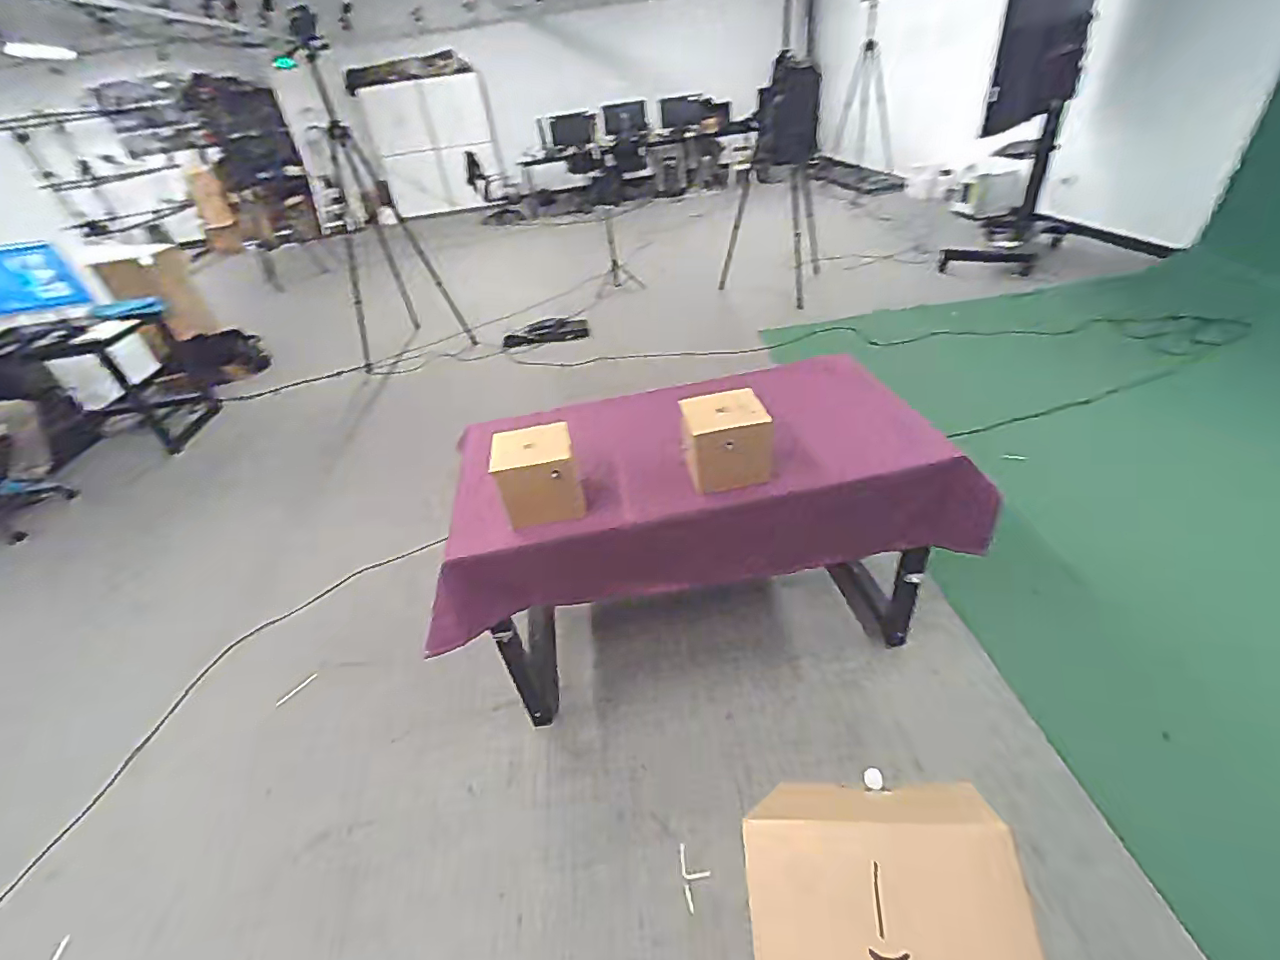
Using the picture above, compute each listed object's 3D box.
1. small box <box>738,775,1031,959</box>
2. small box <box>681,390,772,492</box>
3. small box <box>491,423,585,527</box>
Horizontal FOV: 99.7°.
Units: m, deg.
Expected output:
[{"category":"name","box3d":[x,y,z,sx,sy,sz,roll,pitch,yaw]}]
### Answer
[{"category":"small box","box3d":[0.179,0.328,0.397,0.168,0.176,0.179,-11,66,19]},{"category":"small box","box3d":[0.202,-0.089,1.270,0.179,0.176,0.168,-10,37,-2]},{"category":"small box","box3d":[-0.231,-0.010,1.253,0.179,0.176,0.168,-10,36,-4]}]
